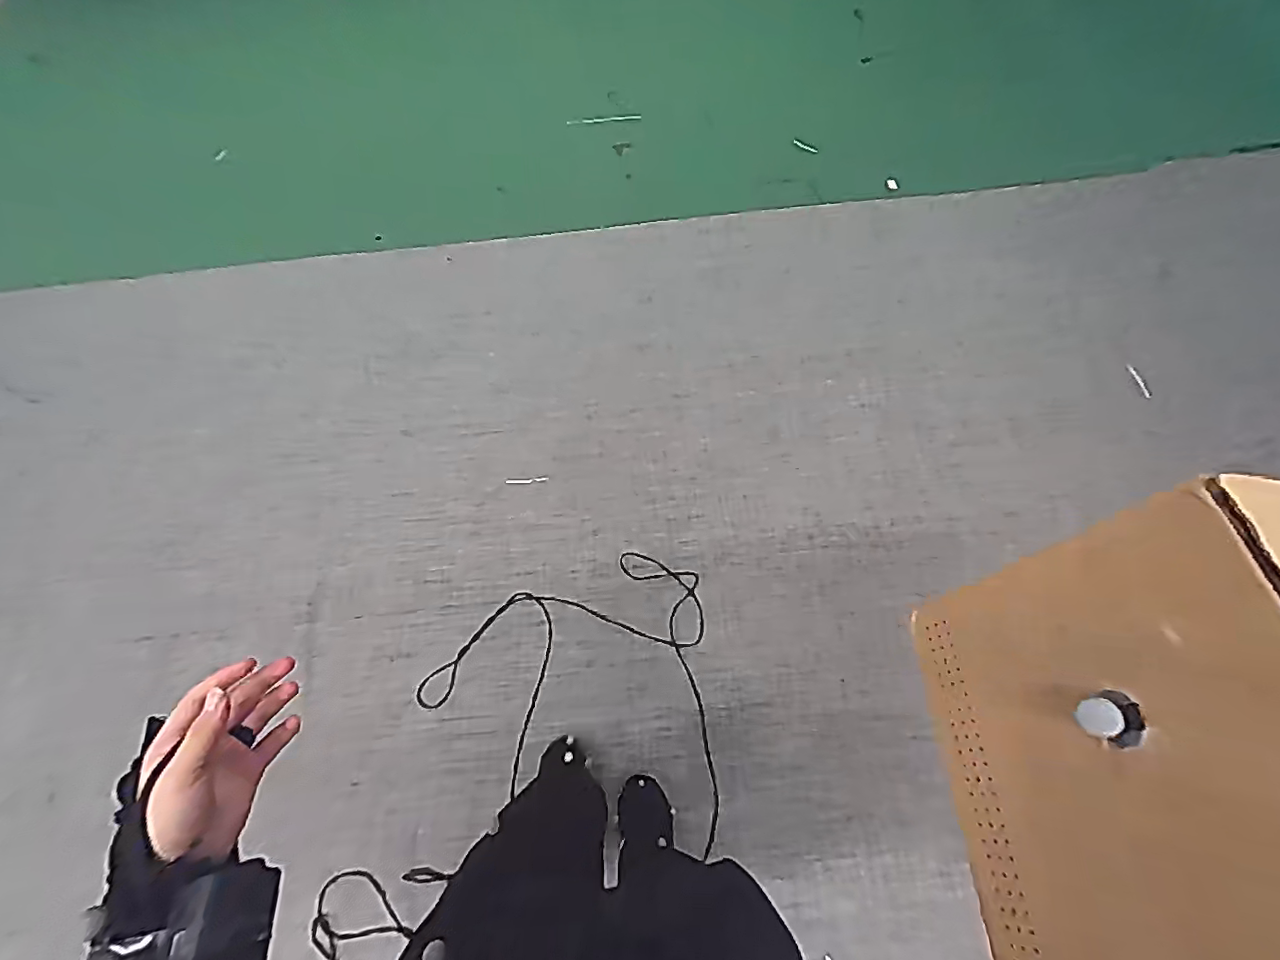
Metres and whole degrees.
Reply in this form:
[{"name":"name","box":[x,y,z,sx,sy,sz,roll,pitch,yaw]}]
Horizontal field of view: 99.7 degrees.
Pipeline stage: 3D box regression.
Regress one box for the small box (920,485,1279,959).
[{"name":"small box","box":[0.262,0.125,0.239,0.168,0.176,0.179,6,57,-11]}]
